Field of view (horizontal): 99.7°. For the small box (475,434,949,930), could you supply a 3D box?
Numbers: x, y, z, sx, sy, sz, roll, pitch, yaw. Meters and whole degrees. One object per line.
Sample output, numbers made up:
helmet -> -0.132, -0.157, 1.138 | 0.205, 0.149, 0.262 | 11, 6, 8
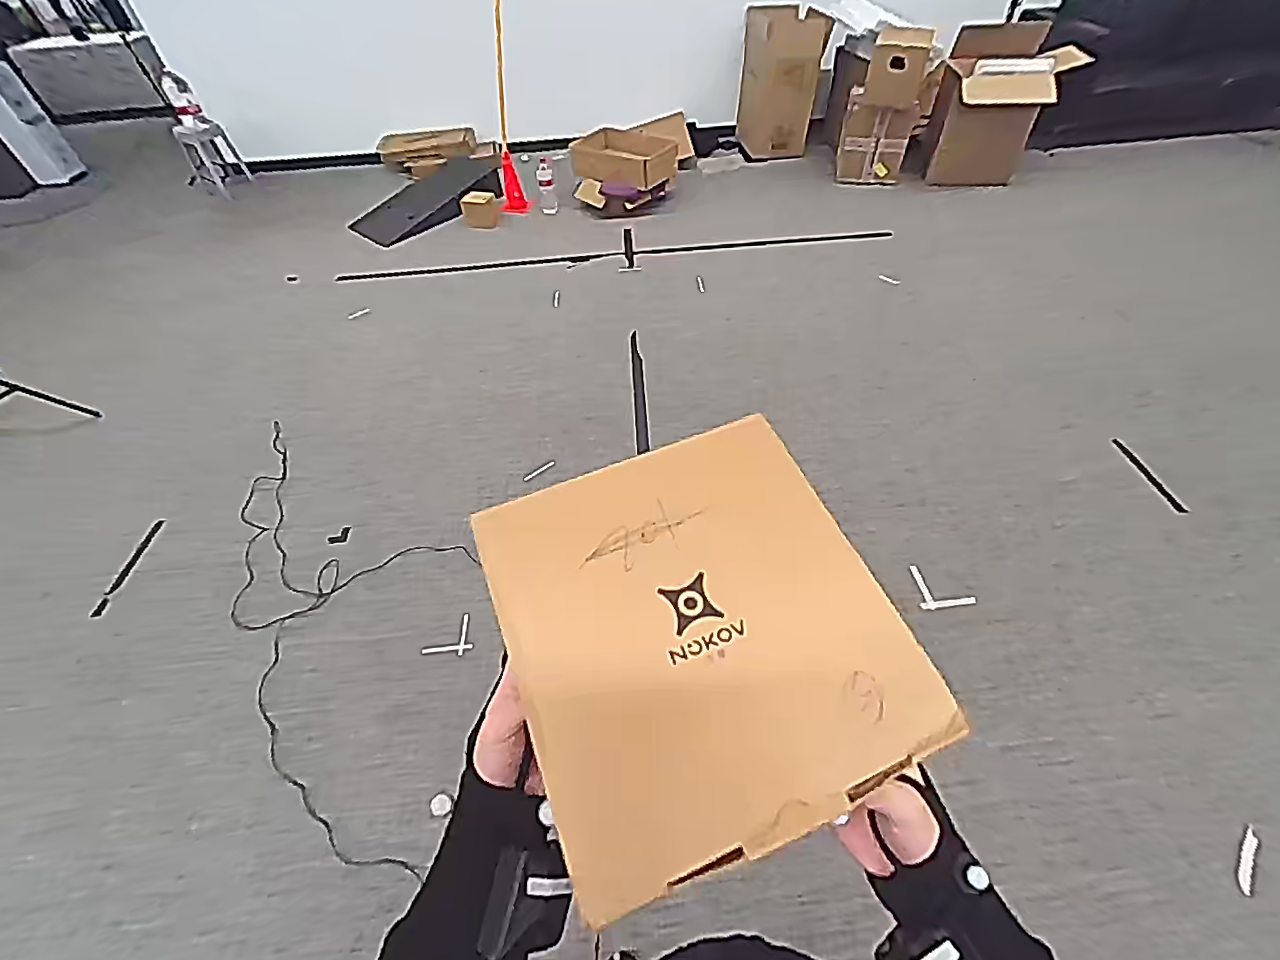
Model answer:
small box -> 0.025, 0.110, 0.318 | 0.168, 0.176, 0.179 | -21, 59, -12
